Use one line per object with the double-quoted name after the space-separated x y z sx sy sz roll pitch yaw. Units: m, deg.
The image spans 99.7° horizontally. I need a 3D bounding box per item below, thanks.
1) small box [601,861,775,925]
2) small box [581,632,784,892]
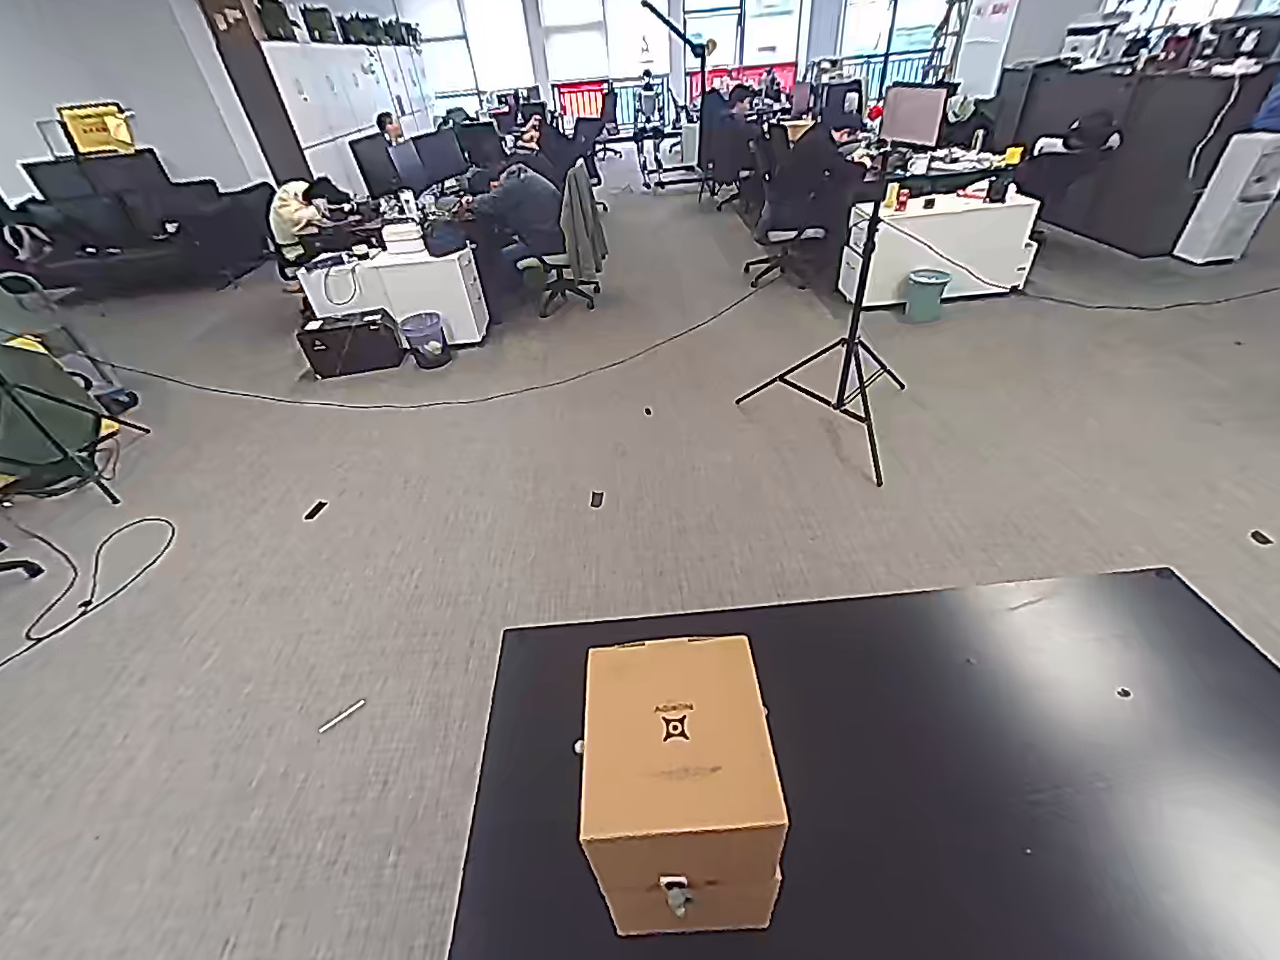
0.052 0.405 0.645 0.179 0.176 0.168 -4 38 1 "small box"
0.037 0.280 0.543 0.168 0.176 0.179 -6 39 1 "small box"
